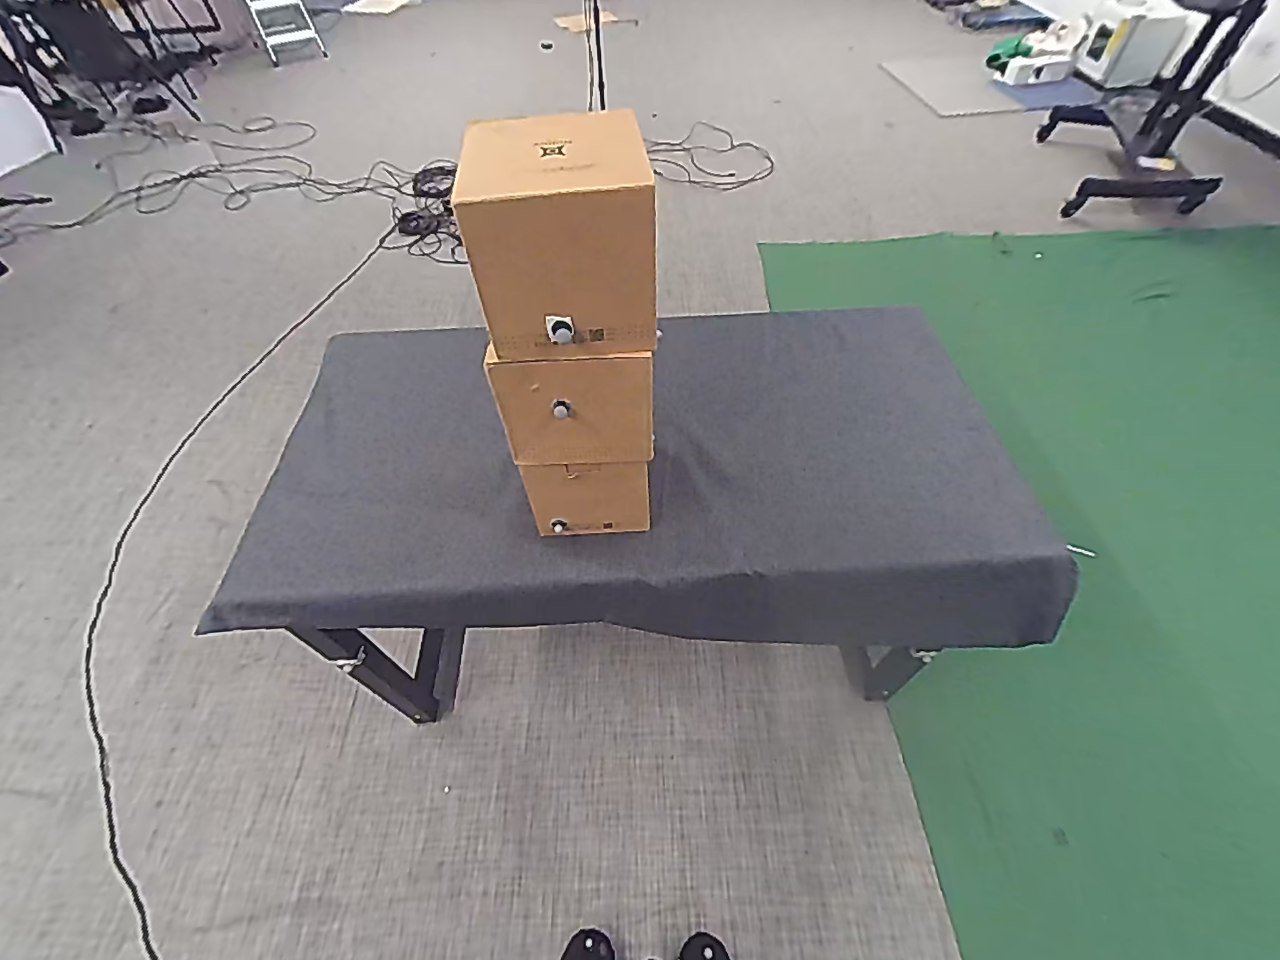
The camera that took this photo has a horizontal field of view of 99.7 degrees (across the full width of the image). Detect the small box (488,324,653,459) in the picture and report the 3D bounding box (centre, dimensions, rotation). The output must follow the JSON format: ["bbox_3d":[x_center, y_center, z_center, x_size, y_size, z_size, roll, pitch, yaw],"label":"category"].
[{"bbox_3d":[-0.077,-0.140,0.678,0.179,0.176,0.168,-4,50,-2],"label":"small box"}]

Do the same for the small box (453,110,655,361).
[{"bbox_3d":[-0.077,-0.246,0.551,0.168,0.176,0.179,-8,53,-3],"label":"small box"}]

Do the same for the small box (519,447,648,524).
[{"bbox_3d":[-0.075,-0.045,0.808,0.168,0.176,0.179,-3,51,0],"label":"small box"}]
